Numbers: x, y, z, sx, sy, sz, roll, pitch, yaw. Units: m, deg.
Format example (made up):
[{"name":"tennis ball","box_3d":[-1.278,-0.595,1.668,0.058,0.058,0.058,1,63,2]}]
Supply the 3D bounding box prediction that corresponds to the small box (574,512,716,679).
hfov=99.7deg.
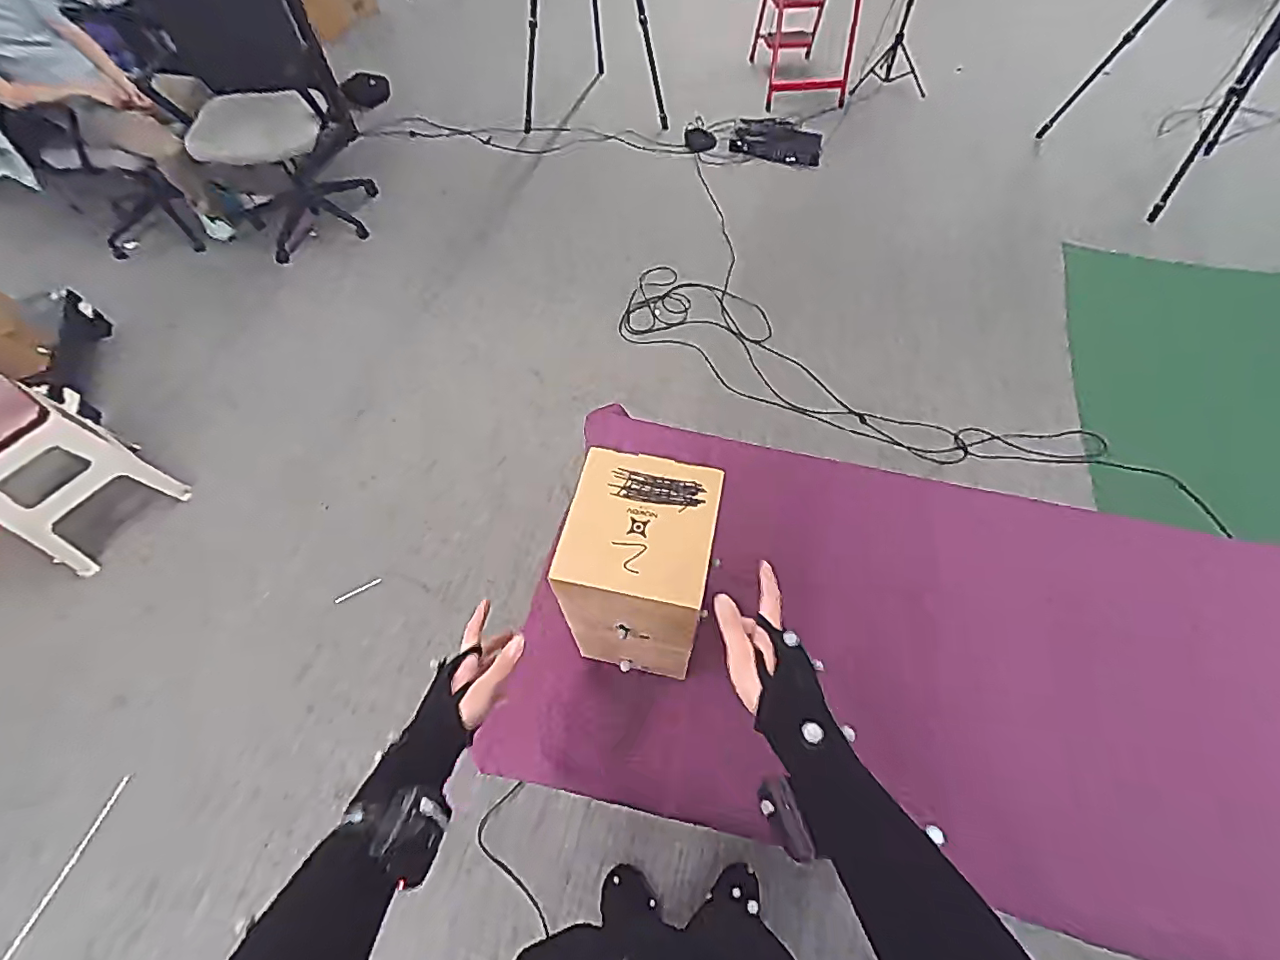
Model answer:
[{"name":"small box","box_3d":[0.010,0.176,0.808,0.168,0.176,0.179,11,59,8]}]
